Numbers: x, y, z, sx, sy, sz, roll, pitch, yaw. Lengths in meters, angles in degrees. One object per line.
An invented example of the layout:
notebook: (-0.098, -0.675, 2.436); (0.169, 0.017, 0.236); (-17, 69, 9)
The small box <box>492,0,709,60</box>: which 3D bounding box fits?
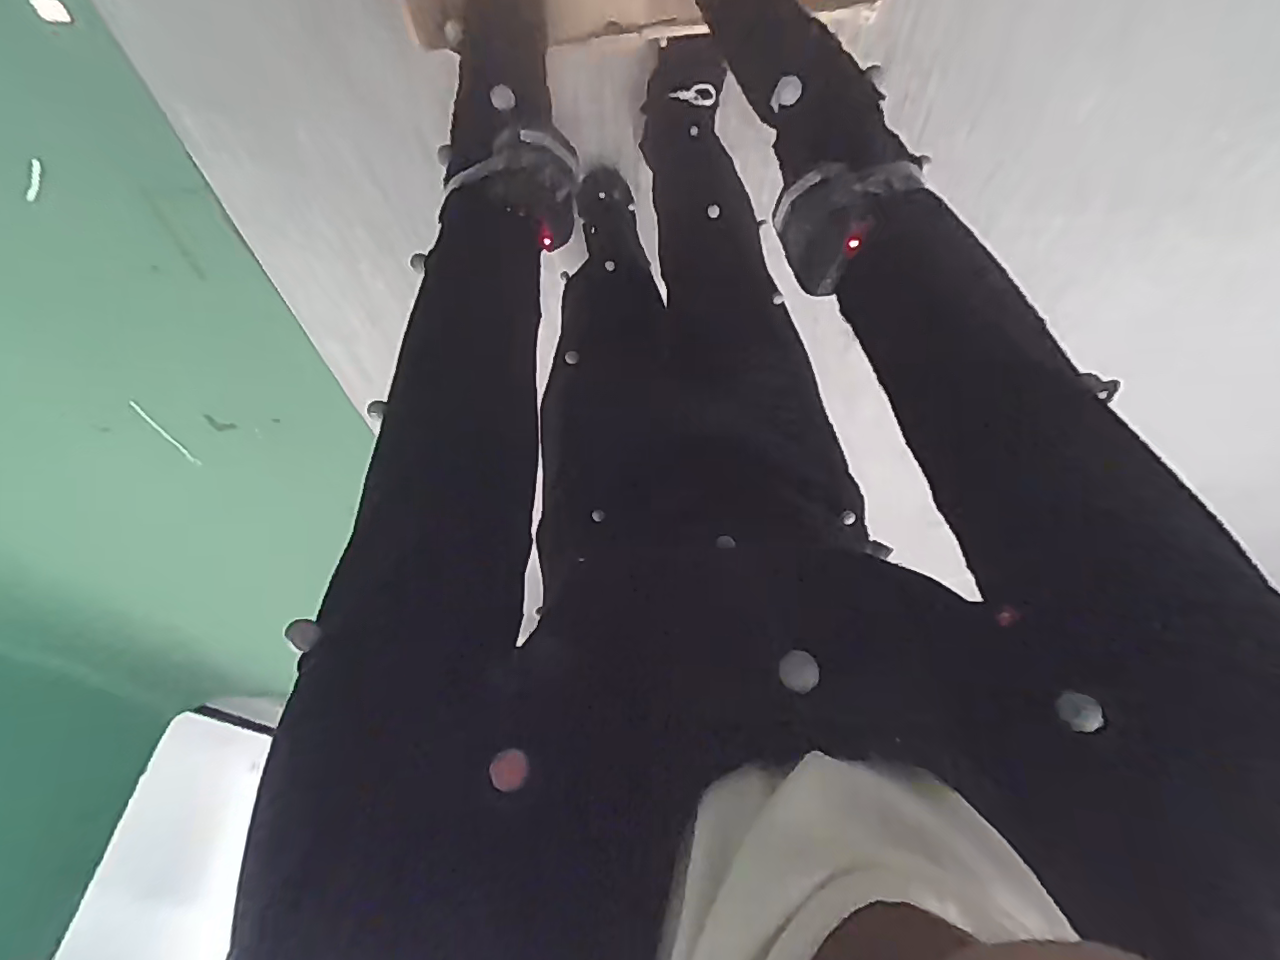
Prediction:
small box: (-0.036, -0.459, 0.404); (0.168, 0.176, 0.179); (-5, 144, 6)
